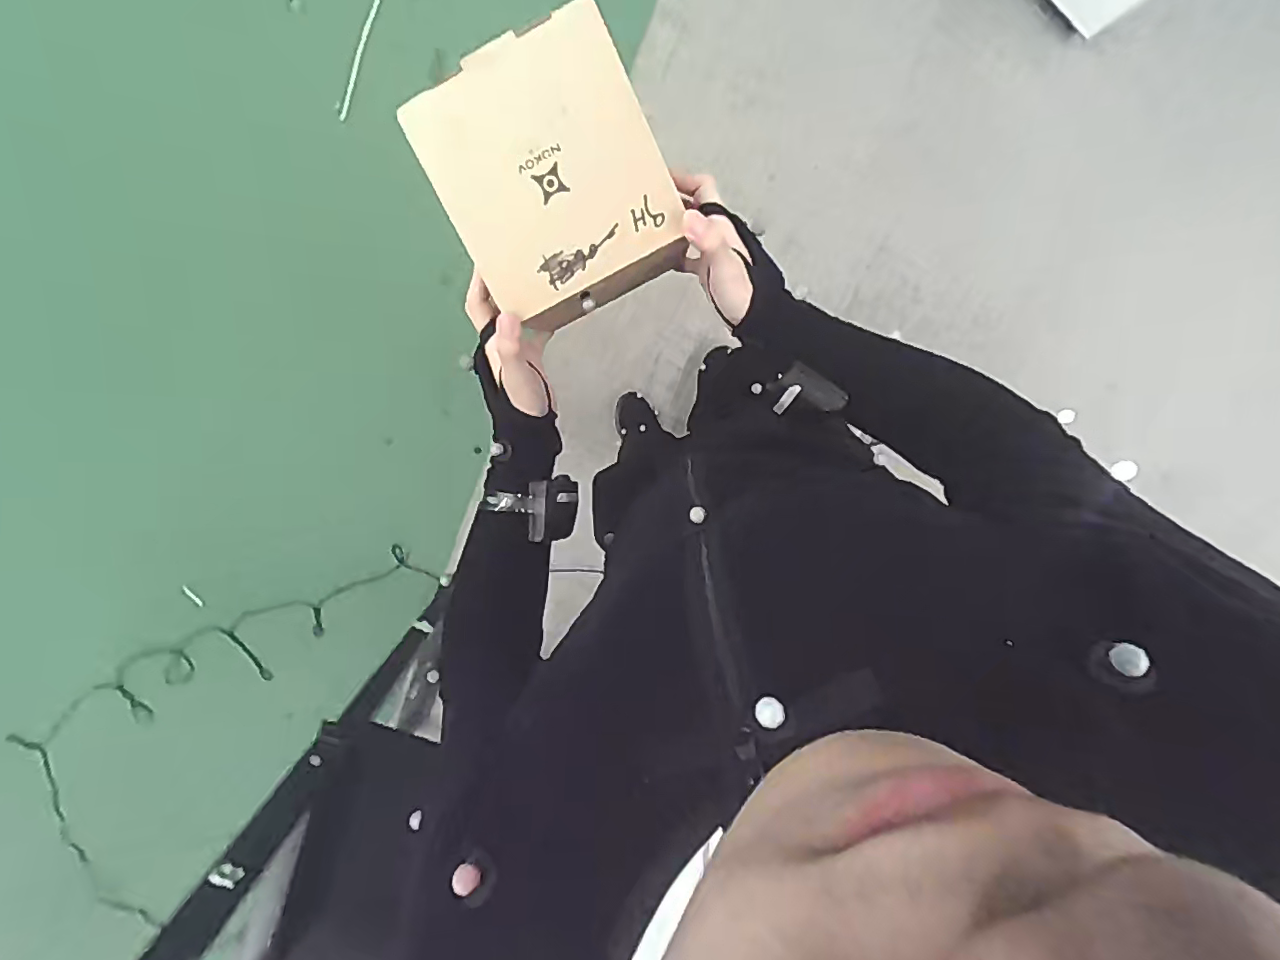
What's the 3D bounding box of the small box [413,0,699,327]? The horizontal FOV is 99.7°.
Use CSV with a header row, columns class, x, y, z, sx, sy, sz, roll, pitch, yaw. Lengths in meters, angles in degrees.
class,x,y,z,sx,sy,sz,roll,pitch,yaw
small box,-0.060,-0.253,0.486,0.168,0.176,0.179,-24,101,8
